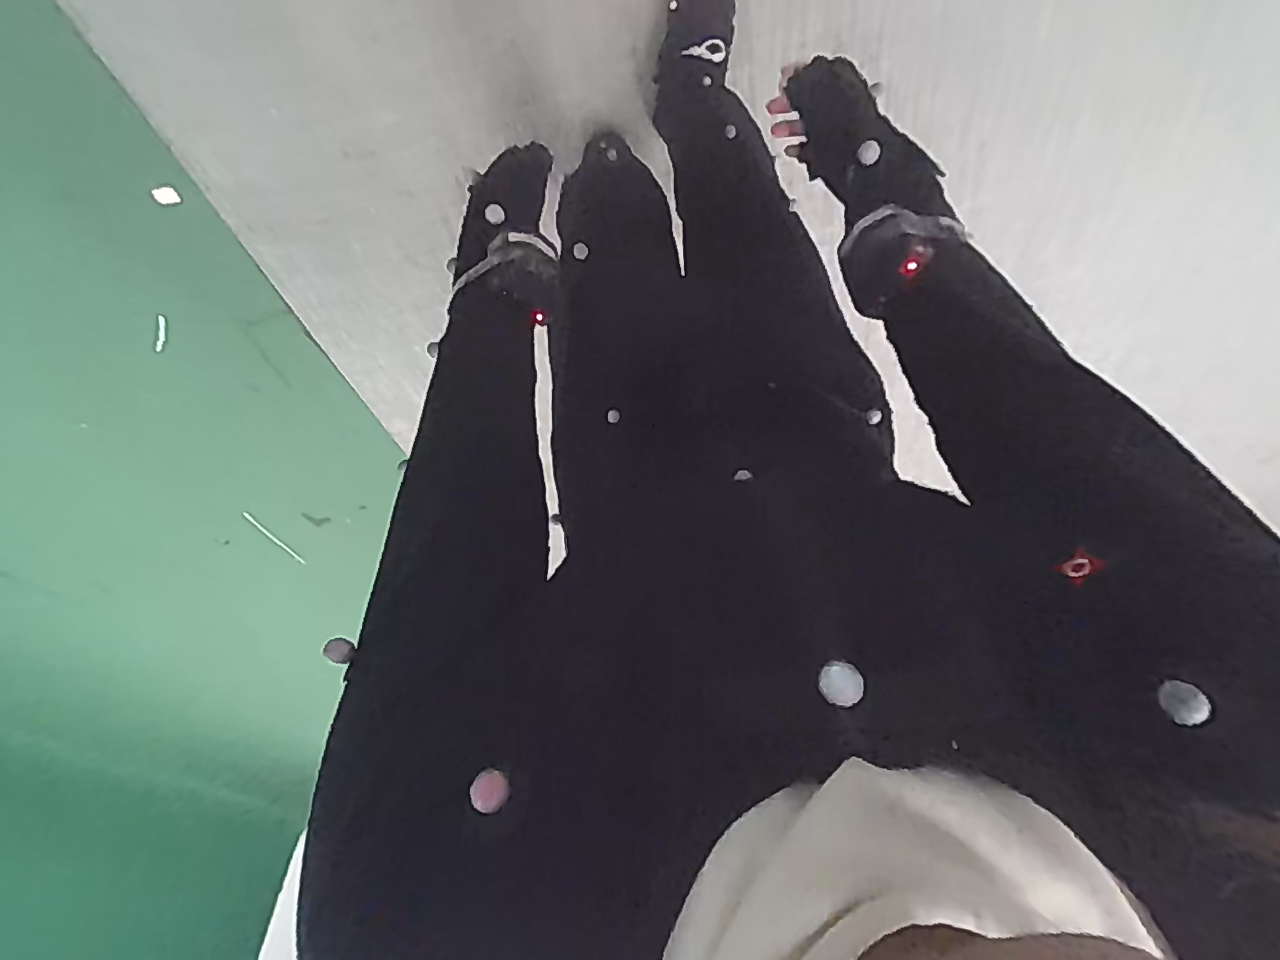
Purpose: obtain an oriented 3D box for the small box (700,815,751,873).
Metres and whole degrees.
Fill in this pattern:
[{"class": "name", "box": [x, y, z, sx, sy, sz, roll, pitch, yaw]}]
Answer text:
[{"class": "small box", "box": [0.342, 1.469, 2.178, 0.179, 0.176, 0.168, -12, 137, 12]}]
